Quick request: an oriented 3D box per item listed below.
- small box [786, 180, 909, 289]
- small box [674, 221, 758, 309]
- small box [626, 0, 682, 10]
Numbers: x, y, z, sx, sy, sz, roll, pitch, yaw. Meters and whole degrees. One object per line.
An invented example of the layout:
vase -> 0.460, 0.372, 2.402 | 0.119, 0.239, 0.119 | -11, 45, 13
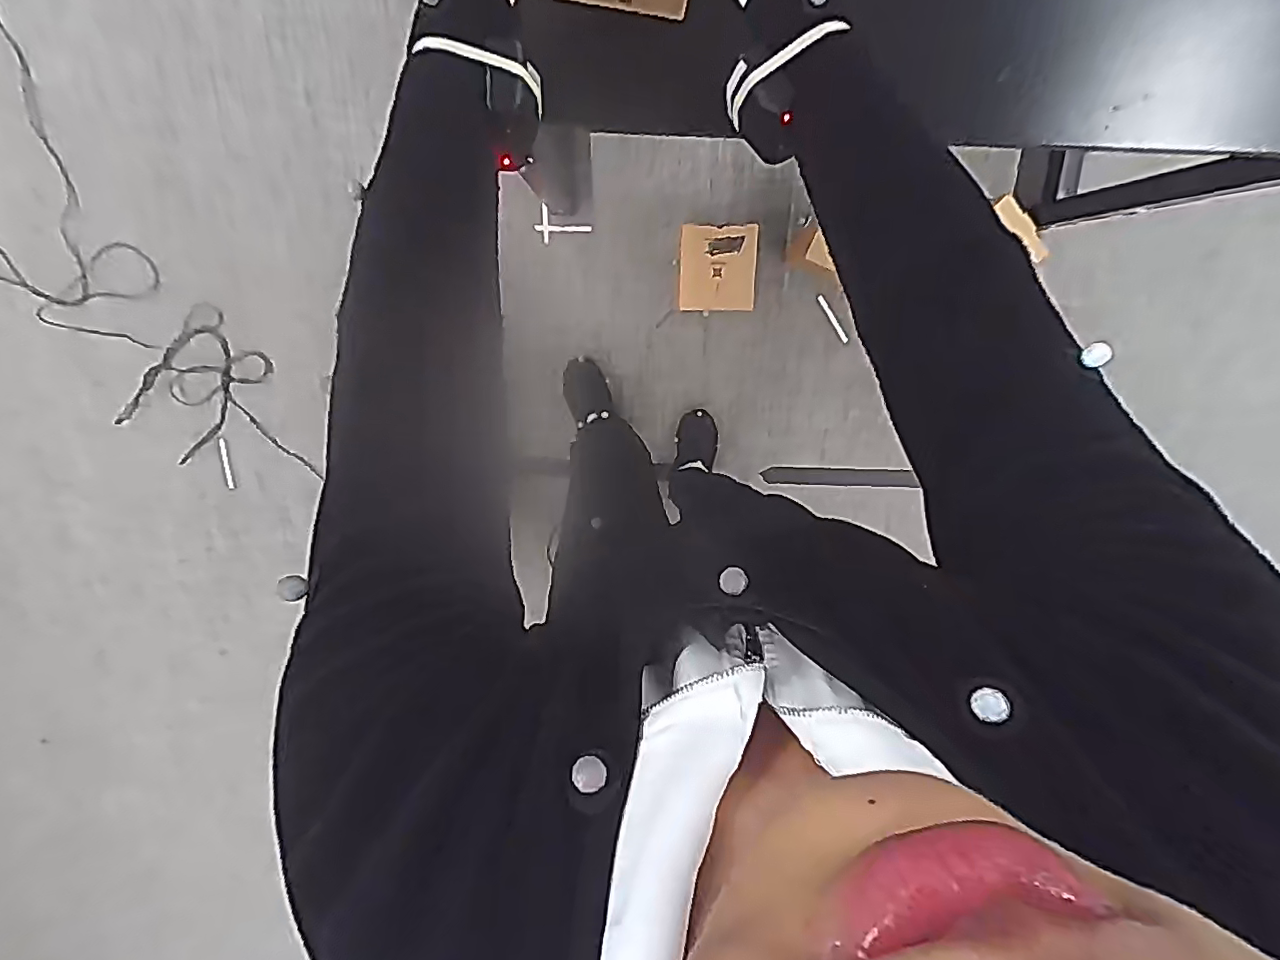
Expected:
small box -> 0.461, -0.548, 1.231 | 0.179, 0.176, 0.168 | 21, 106, -6
small box -> 0.166, -0.489, 1.243 | 0.168, 0.176, 0.179 | 0, 110, -1
small box -> -0.024, -0.545, 0.452 | 0.168, 0.176, 0.179 | 7, 107, -4
